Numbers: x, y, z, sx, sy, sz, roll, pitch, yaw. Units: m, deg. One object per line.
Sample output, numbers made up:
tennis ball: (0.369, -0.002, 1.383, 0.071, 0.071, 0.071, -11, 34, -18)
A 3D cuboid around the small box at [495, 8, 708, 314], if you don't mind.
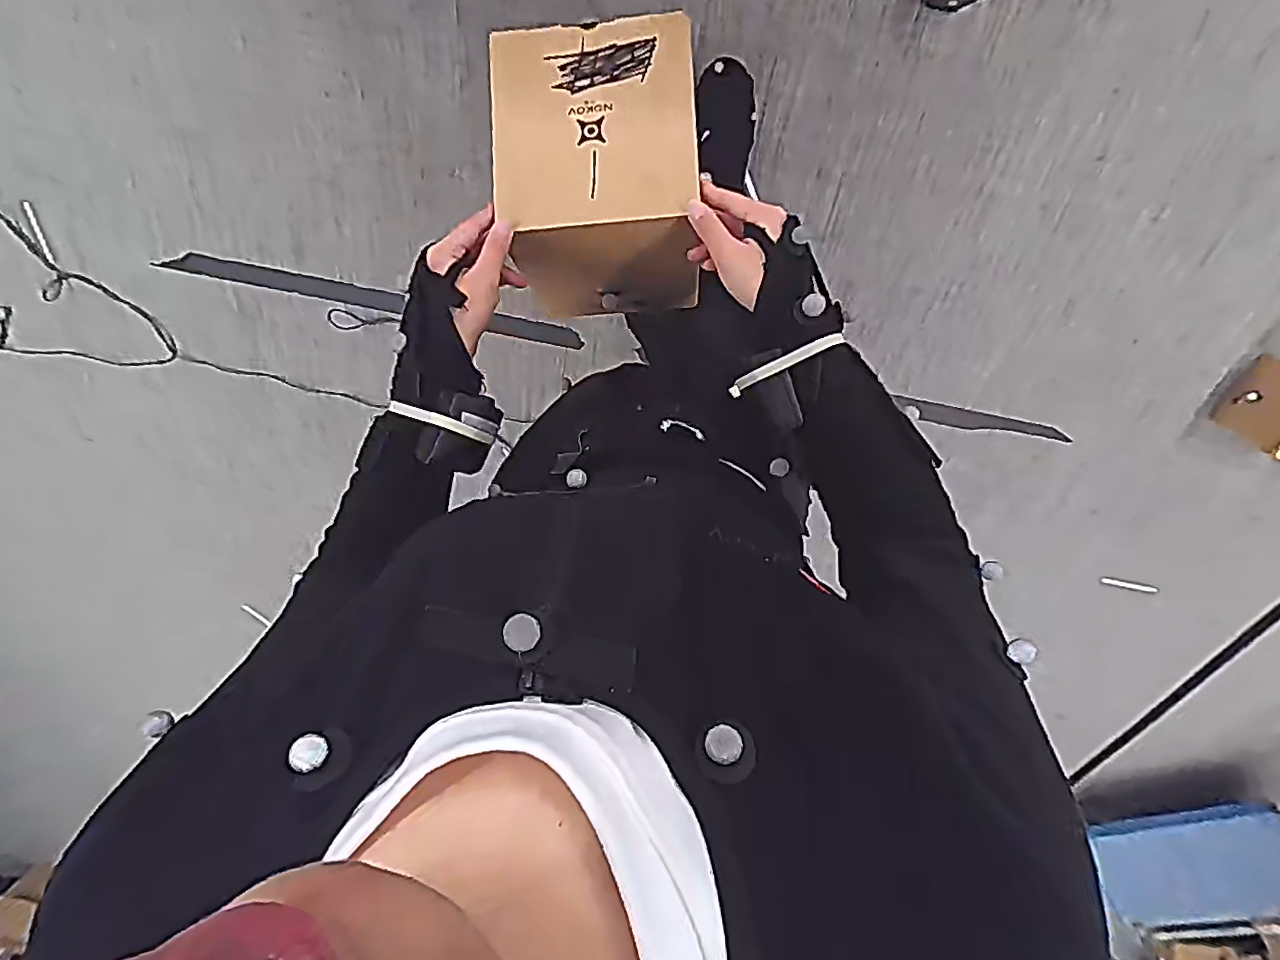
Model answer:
small box: (-0.027, -0.275, 0.502, 0.168, 0.176, 0.179, -3, 84, 5)
